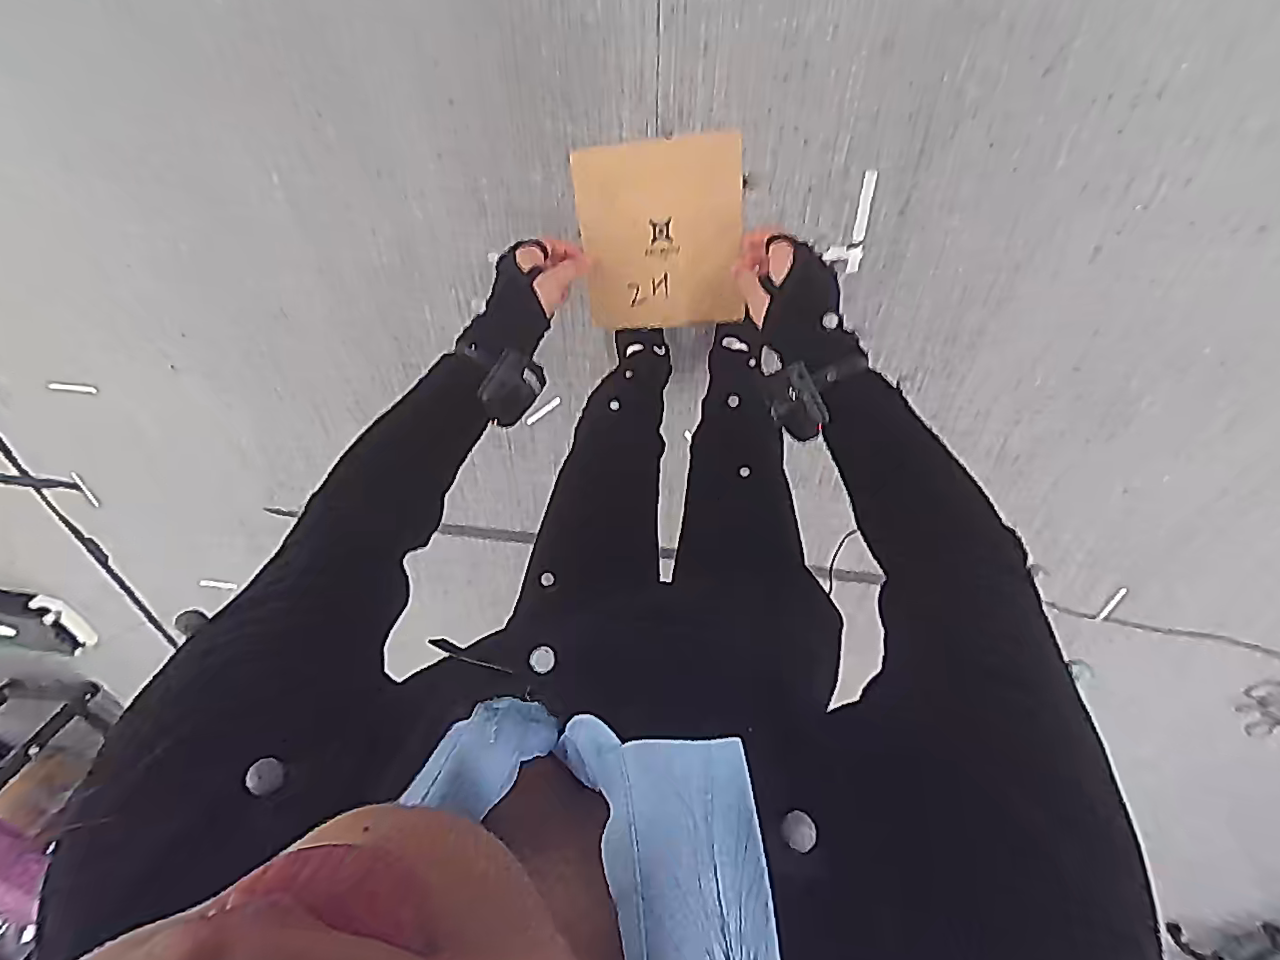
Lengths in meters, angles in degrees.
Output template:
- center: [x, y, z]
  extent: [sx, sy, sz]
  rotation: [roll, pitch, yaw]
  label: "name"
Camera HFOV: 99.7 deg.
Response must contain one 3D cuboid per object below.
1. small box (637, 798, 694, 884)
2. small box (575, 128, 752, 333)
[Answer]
- center: [0.084, 1.163, 1.745]
  extent: [0.168, 0.176, 0.179]
  rotation: [5, 126, 5]
  label: "small box"
- center: [0.036, -0.274, 0.598]
  extent: [0.168, 0.176, 0.179]
  rotation: [0, 121, 10]
  label: "small box"
